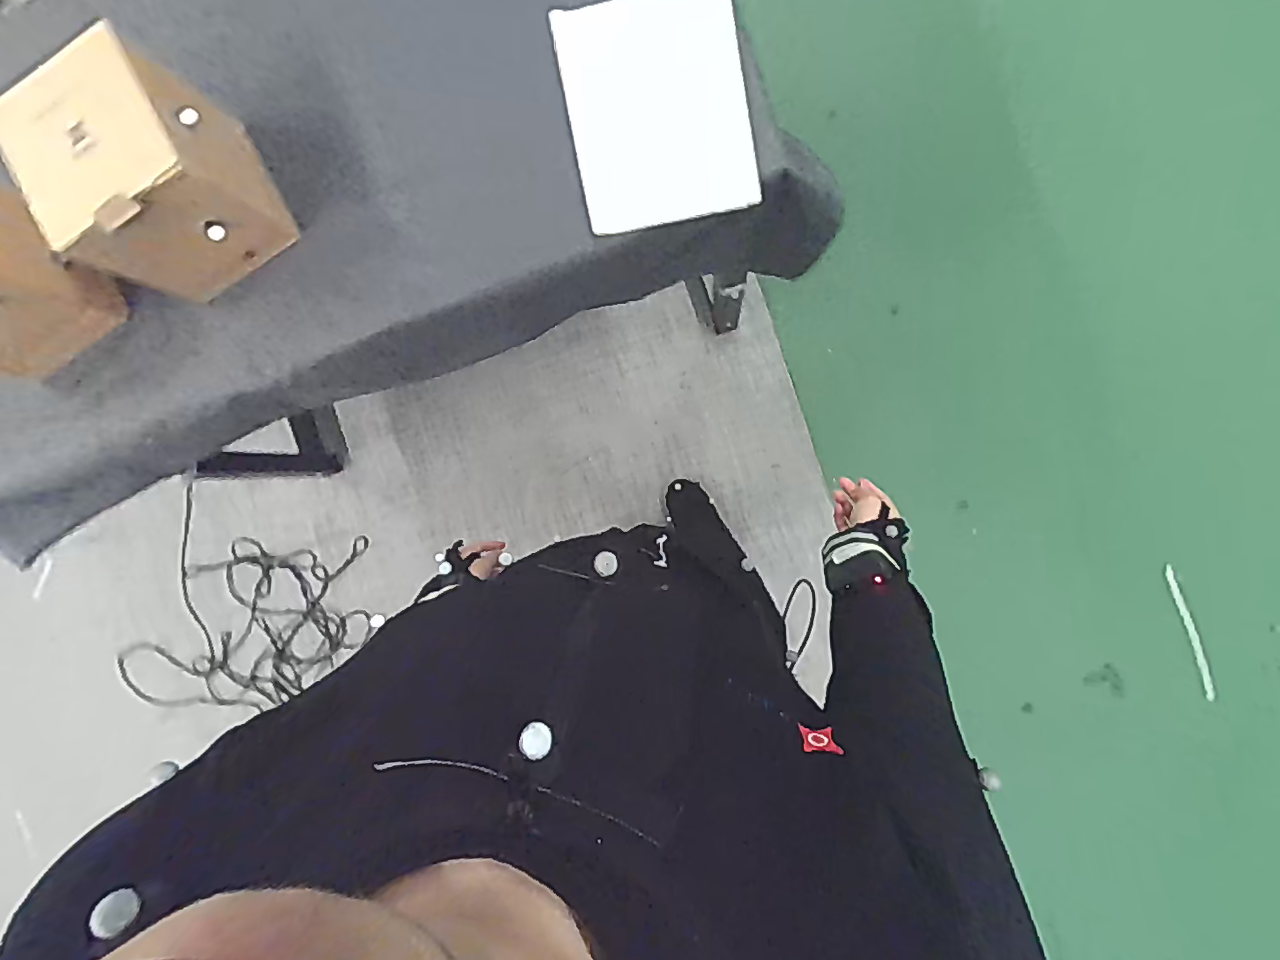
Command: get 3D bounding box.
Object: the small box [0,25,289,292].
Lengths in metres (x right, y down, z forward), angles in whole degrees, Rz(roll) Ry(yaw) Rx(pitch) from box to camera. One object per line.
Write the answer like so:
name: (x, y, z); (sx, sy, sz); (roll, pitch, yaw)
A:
small box: (-0.556, -0.341, 0.620); (0.168, 0.176, 0.179); (-30, 86, 5)

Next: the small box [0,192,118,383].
small box: (-0.806, -0.237, 0.649); (0.179, 0.176, 0.168); (-32, 86, 5)
